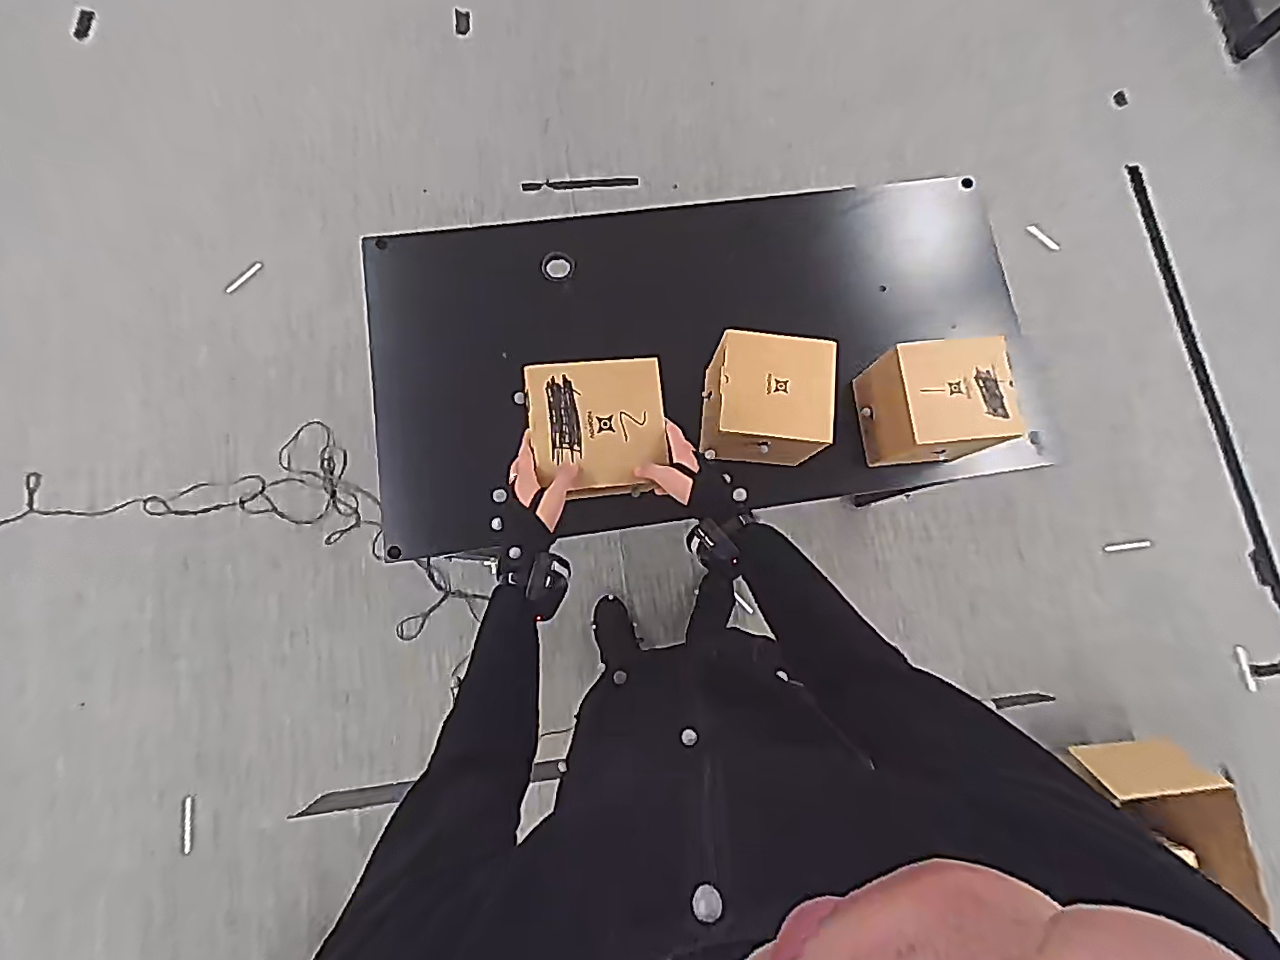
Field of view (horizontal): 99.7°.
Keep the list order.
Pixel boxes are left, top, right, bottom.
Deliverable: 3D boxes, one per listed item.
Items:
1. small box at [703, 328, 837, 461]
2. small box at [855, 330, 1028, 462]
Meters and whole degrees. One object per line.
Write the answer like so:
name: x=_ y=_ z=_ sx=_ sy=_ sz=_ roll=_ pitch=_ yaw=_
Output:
small box: x=0.206 y=-0.131 z=0.890 sx=0.179 sy=0.176 sz=0.168 roll=5 pitch=79 yaw=0
small box: x=0.486 y=-0.132 z=0.898 sx=0.179 sy=0.176 sz=0.168 roll=-6 pitch=80 yaw=-2
